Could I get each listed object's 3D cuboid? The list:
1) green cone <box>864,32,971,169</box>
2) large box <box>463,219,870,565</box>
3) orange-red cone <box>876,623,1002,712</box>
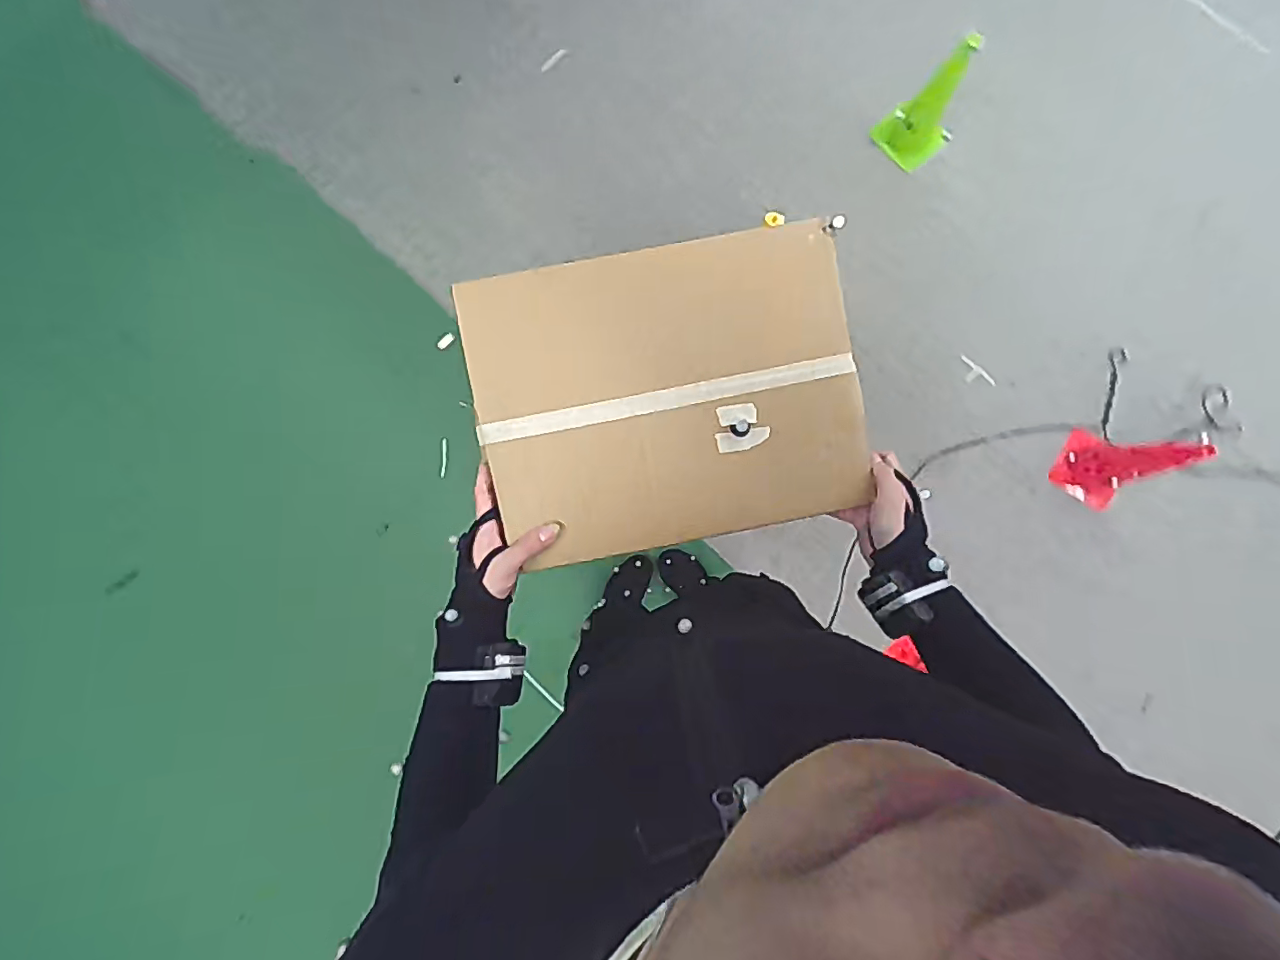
[{"bbox_3d":[0.873,-1.173,1.627,0.202,0.368,0.200,-42,85,-3],"label":"green cone"},{"bbox_3d":[0.026,-0.101,0.732,0.408,0.320,0.320,-11,95,-2],"label":"large box"},{"bbox_3d":[0.827,0.539,1.434,0.198,0.360,0.199,-41,87,-3],"label":"orange-red cone"}]
